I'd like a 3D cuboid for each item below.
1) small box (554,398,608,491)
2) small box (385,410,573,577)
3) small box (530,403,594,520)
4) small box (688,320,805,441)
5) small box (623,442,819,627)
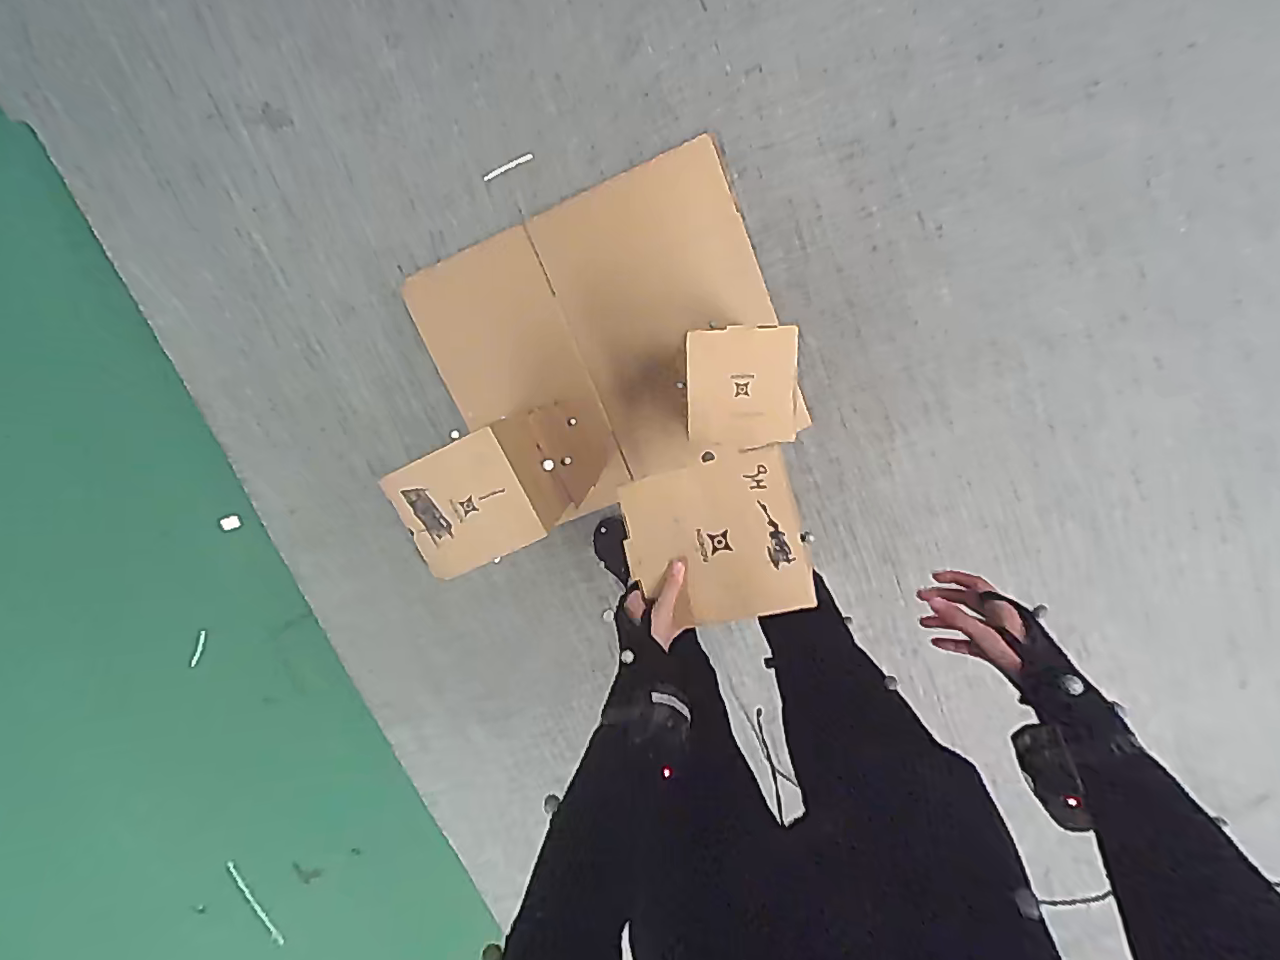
[{"bbox_3d":[-0.179,-0.054,1.105,0.168,0.176,0.179,-23,100,9],"label":"small box"},{"bbox_3d":[-0.219,0.012,0.784,0.179,0.176,0.168,-24,101,9],"label":"small box"},{"bbox_3d":[-0.194,-0.020,0.945,0.168,0.176,0.179,-23,101,8],"label":"small box"},{"bbox_3d":[0.164,-0.163,0.882,0.168,0.176,0.179,-1,104,4],"label":"small box"},{"bbox_3d":[0.102,0.058,0.628,0.179,0.176,0.168,-14,89,17],"label":"small box"}]
